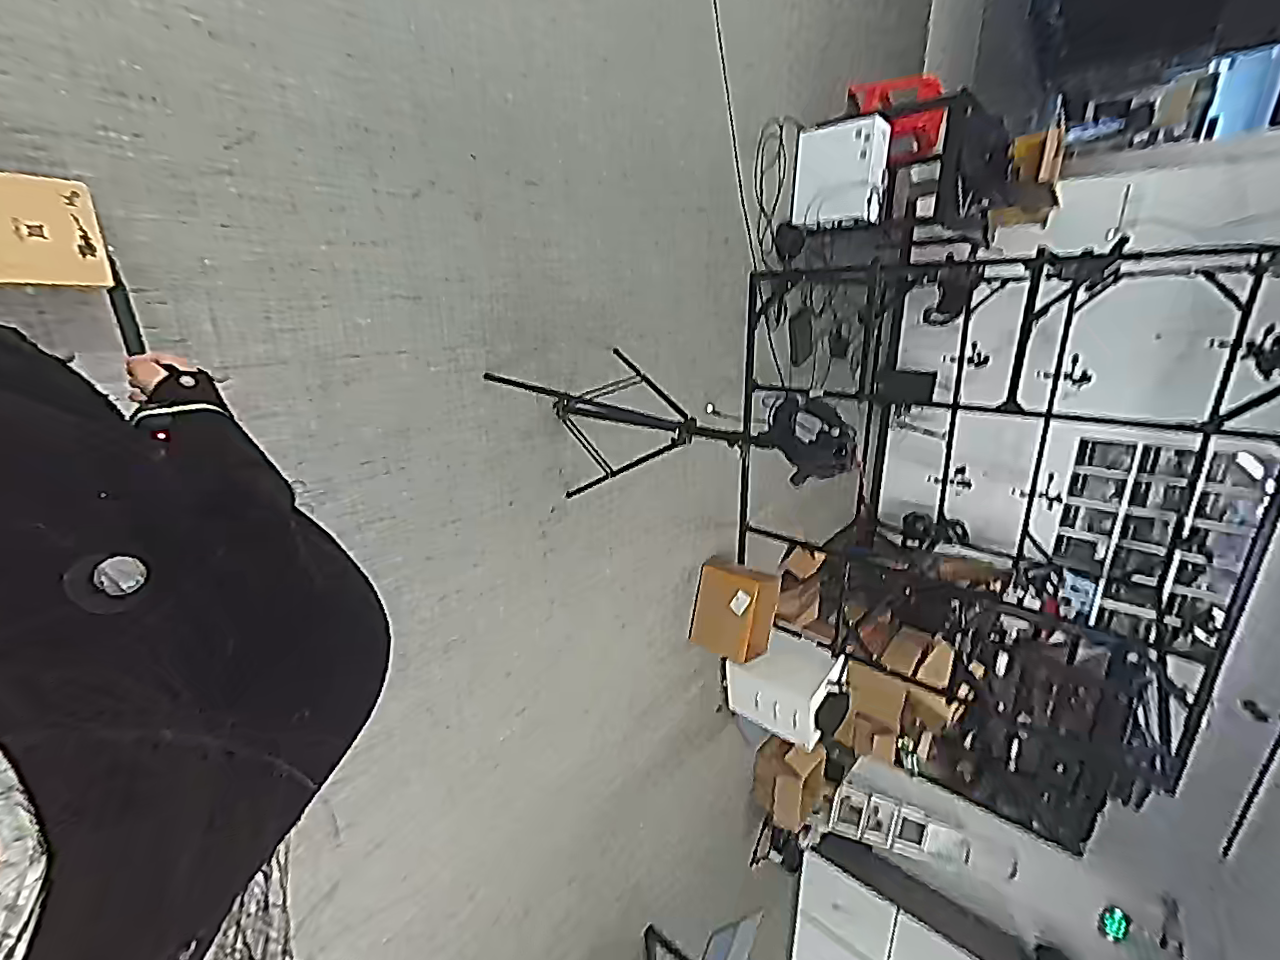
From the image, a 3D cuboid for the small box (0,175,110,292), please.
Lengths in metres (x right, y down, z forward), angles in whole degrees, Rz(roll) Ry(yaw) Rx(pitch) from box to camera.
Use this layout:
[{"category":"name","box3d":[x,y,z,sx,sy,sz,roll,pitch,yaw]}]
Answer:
[{"category":"small box","box3d":[-1.042,-0.410,0.915,0.179,0.176,0.168,-17,114,-46]}]
